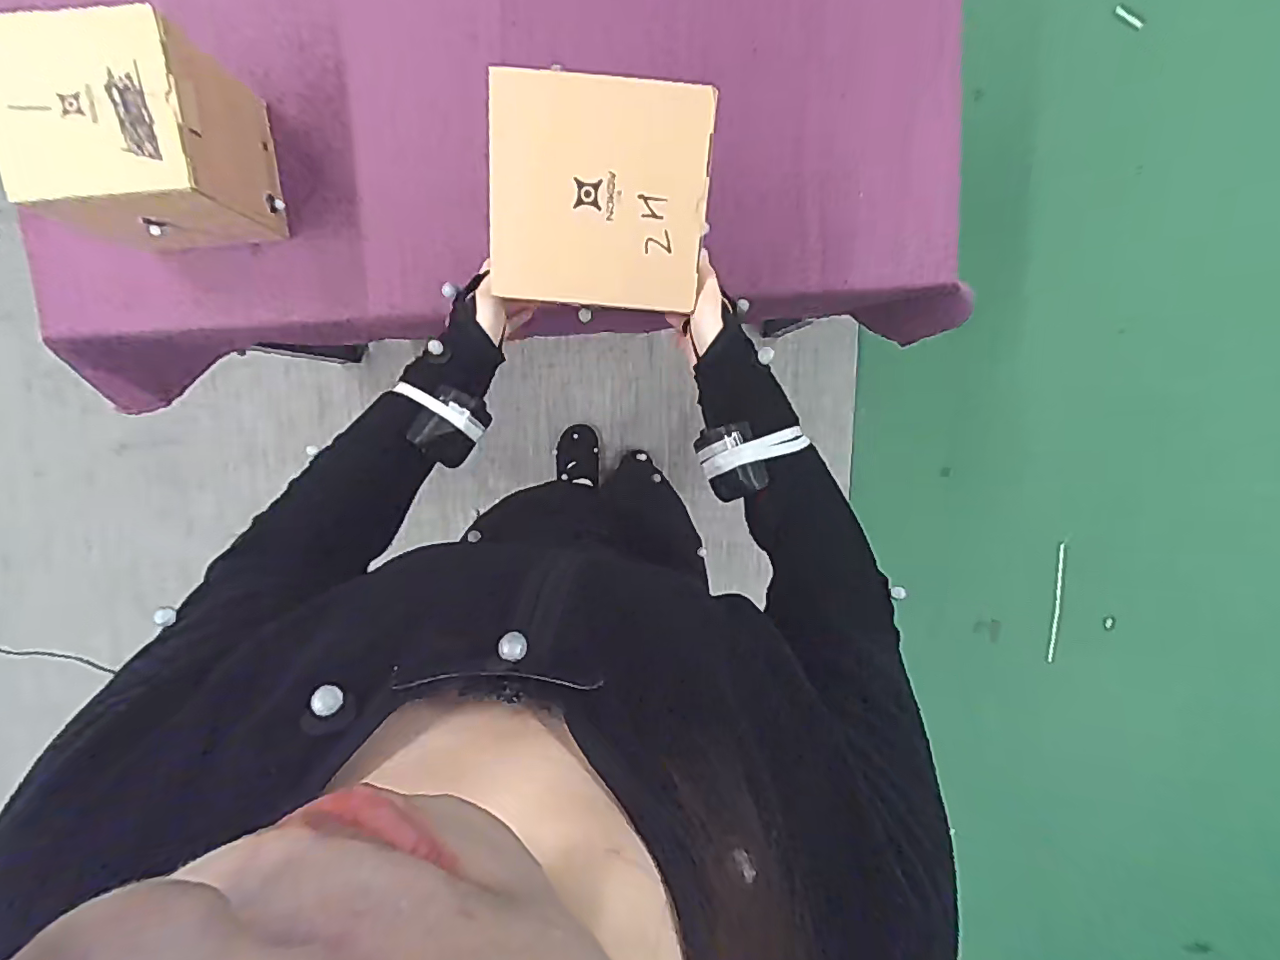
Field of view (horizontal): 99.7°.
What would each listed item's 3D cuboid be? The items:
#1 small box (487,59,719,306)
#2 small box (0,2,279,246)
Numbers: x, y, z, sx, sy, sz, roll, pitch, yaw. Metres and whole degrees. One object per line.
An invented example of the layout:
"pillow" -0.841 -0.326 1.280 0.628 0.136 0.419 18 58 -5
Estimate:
"small box" -0.033 -0.256 0.507 0.179 0.176 0.168 5 109 -2
"small box" -0.531 -0.369 0.590 0.179 0.176 0.168 -6 98 -1
